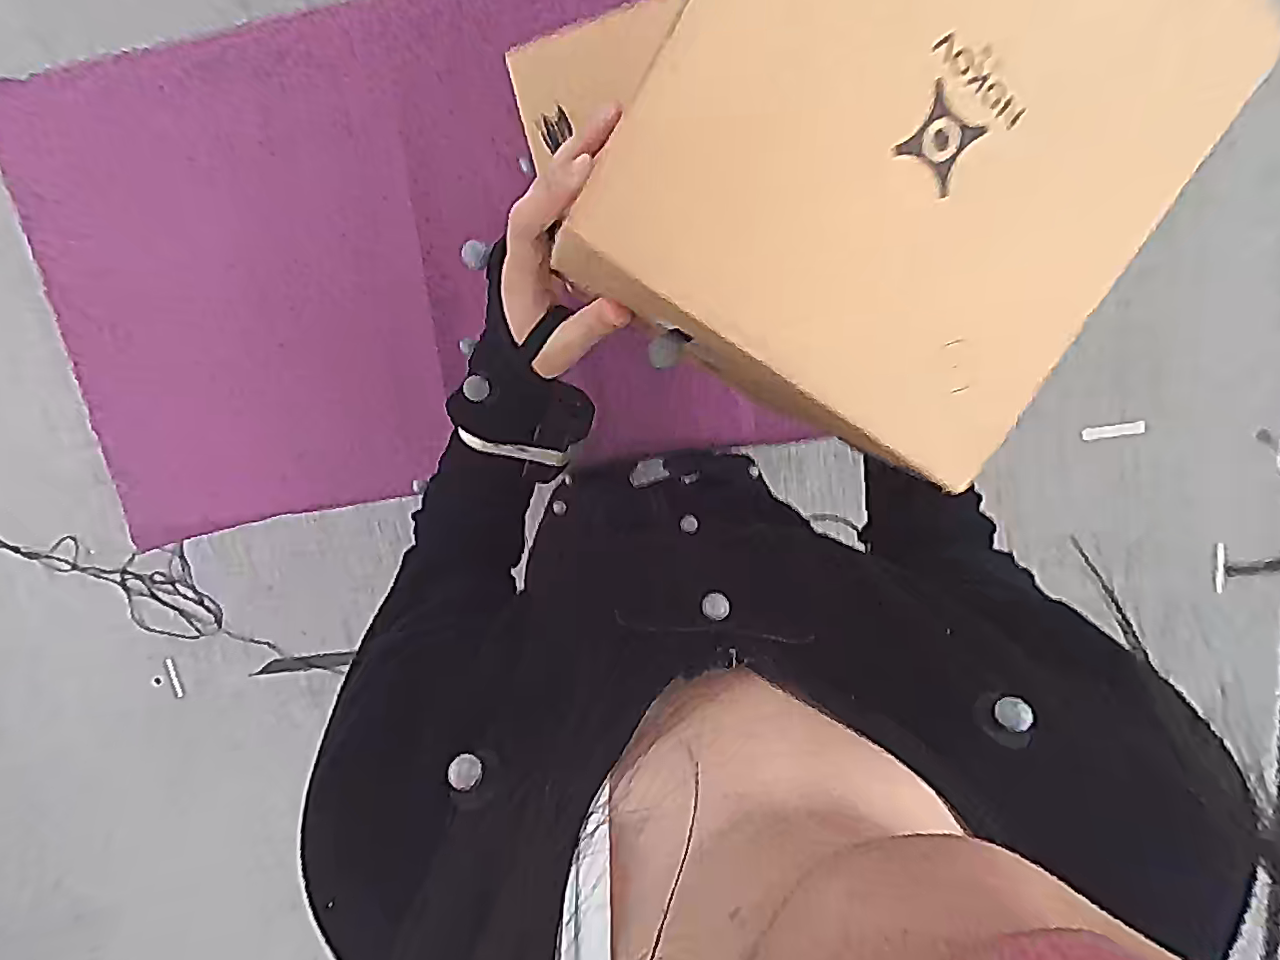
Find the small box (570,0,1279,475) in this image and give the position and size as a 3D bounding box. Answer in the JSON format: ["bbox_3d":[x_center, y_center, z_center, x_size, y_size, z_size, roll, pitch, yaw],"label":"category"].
[{"bbox_3d":[0.080,-0.132,0.232,0.168,0.176,0.179,27,100,-18],"label":"small box"}]

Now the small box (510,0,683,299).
[{"bbox_3d":[0.017,-0.262,0.455,0.179,0.176,0.168,-13,101,7],"label":"small box"}]
